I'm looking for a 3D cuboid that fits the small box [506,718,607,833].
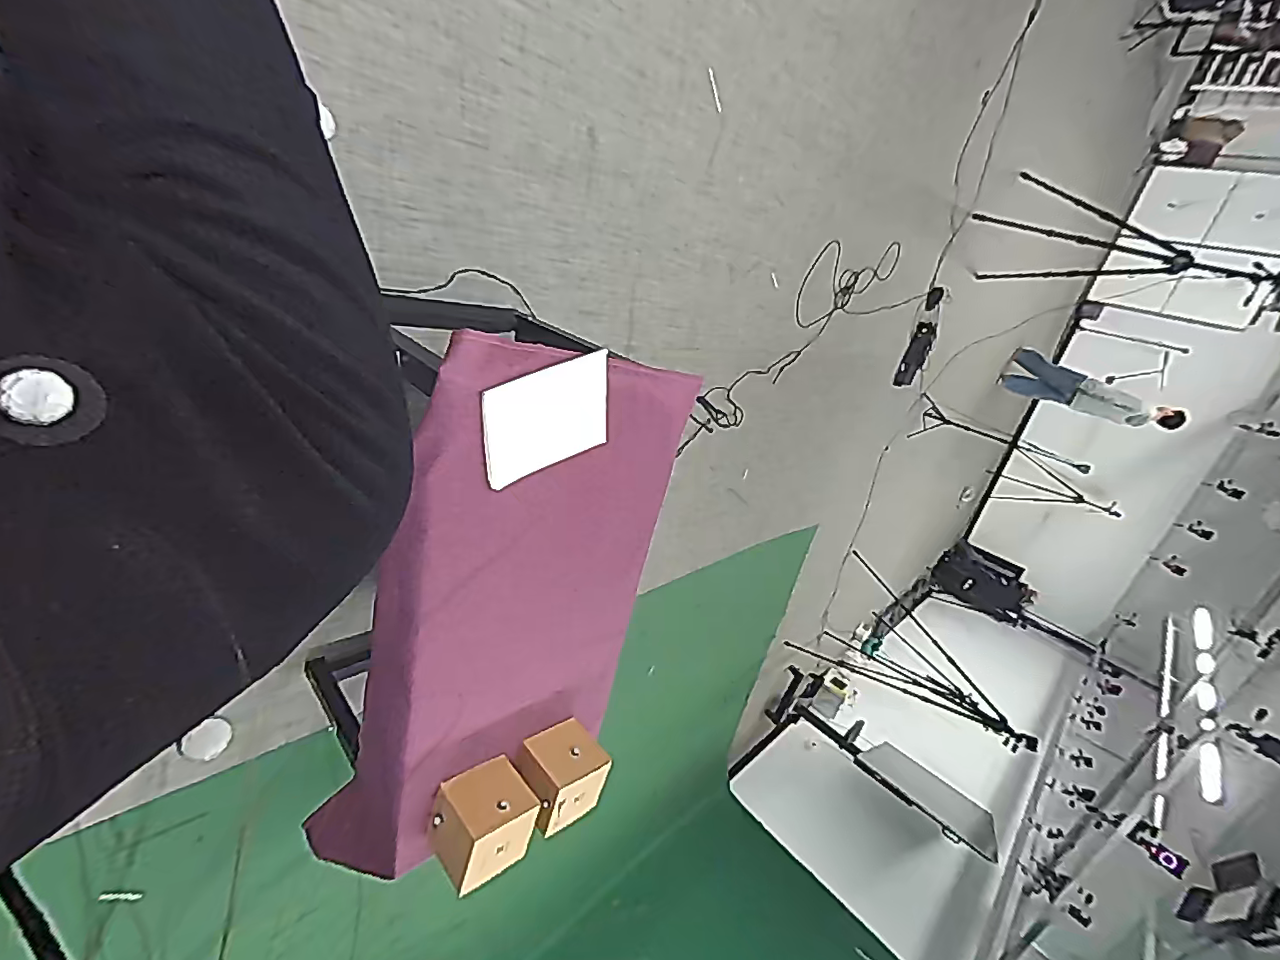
[{"bbox_3d":[-0.222,0.762,1.420,0.179,0.176,0.168,-4,117,-49],"label":"small box"}]
